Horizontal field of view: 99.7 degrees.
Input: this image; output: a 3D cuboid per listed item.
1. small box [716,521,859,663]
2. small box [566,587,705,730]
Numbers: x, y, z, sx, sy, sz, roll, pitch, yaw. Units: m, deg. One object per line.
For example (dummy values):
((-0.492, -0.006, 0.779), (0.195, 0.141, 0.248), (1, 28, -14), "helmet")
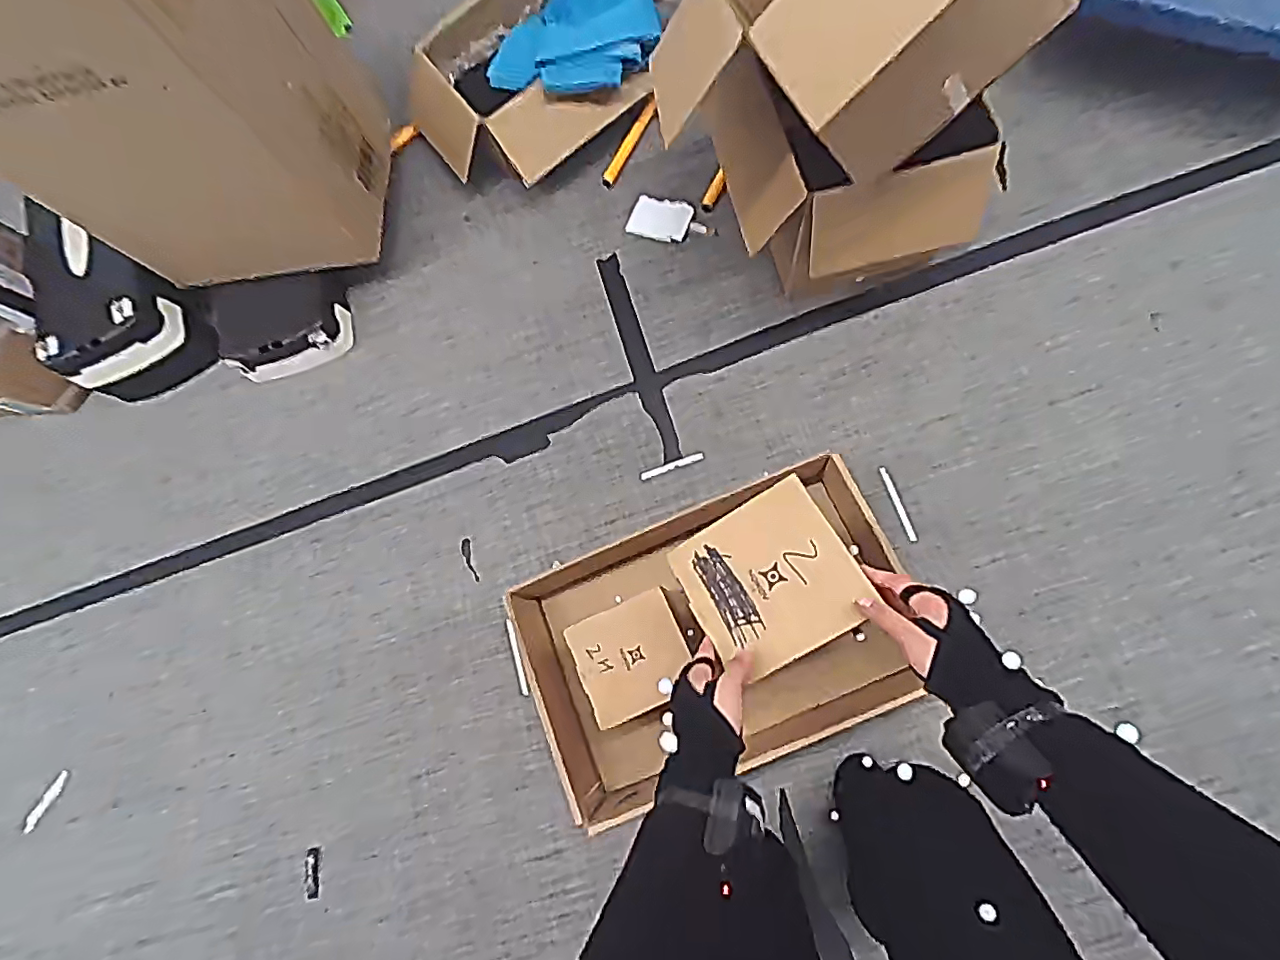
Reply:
((0.236, 0.190, 0.911), (0.168, 0.176, 0.179), (-24, 74, 4), "small box")
((-0.001, 0.295, 0.920), (0.179, 0.176, 0.168), (-25, 73, 1), "small box")
